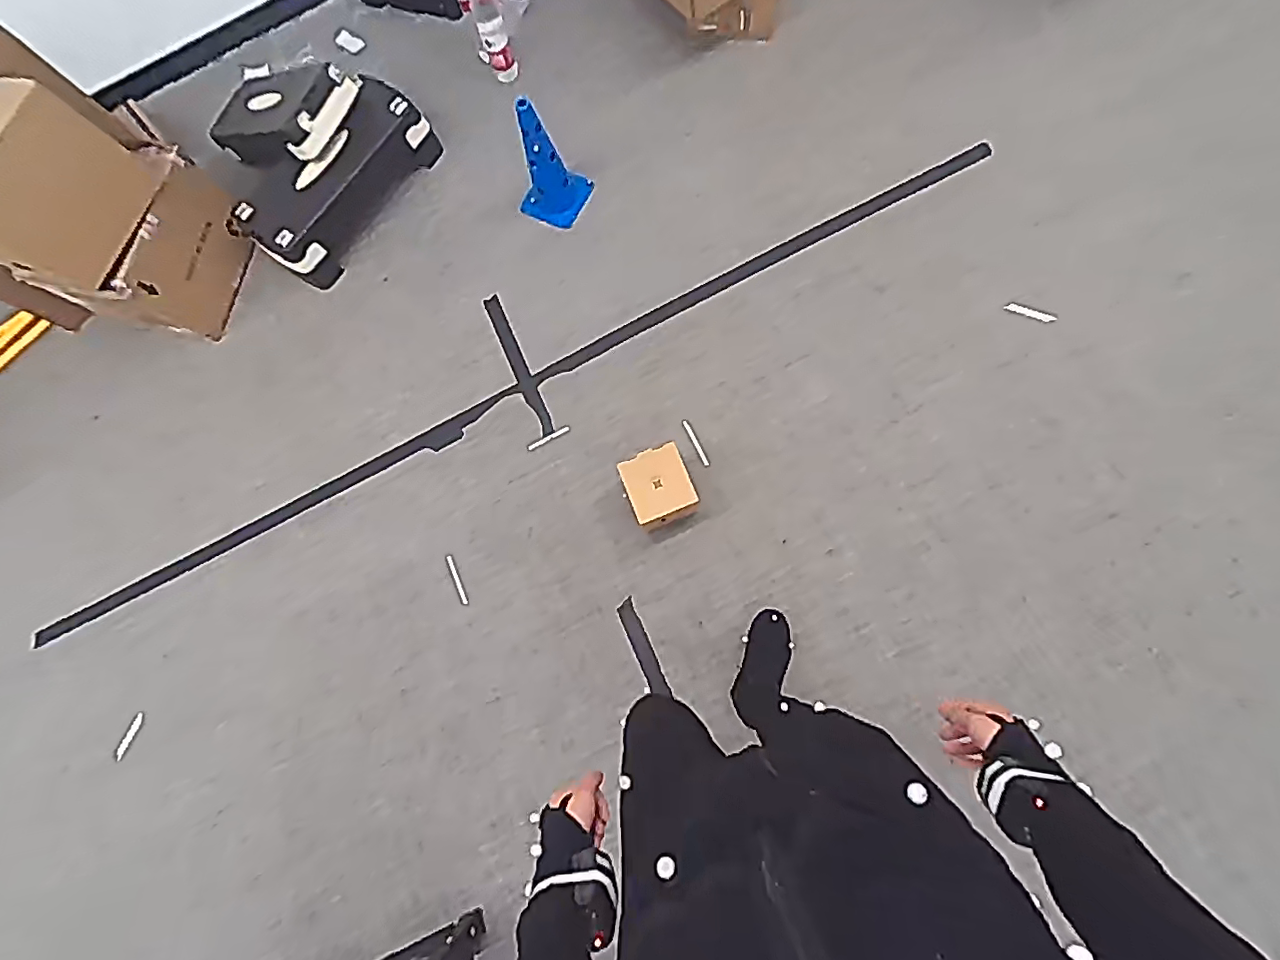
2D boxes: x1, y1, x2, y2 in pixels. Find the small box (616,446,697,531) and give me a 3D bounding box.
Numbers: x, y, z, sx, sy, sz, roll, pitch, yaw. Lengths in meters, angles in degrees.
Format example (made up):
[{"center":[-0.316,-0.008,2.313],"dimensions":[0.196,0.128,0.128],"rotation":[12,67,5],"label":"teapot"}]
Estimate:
[{"center":[0.051,0.032,1.476],"dimensions":[0.168,0.176,0.179],"rotation":[-23,75,2],"label":"small box"}]
